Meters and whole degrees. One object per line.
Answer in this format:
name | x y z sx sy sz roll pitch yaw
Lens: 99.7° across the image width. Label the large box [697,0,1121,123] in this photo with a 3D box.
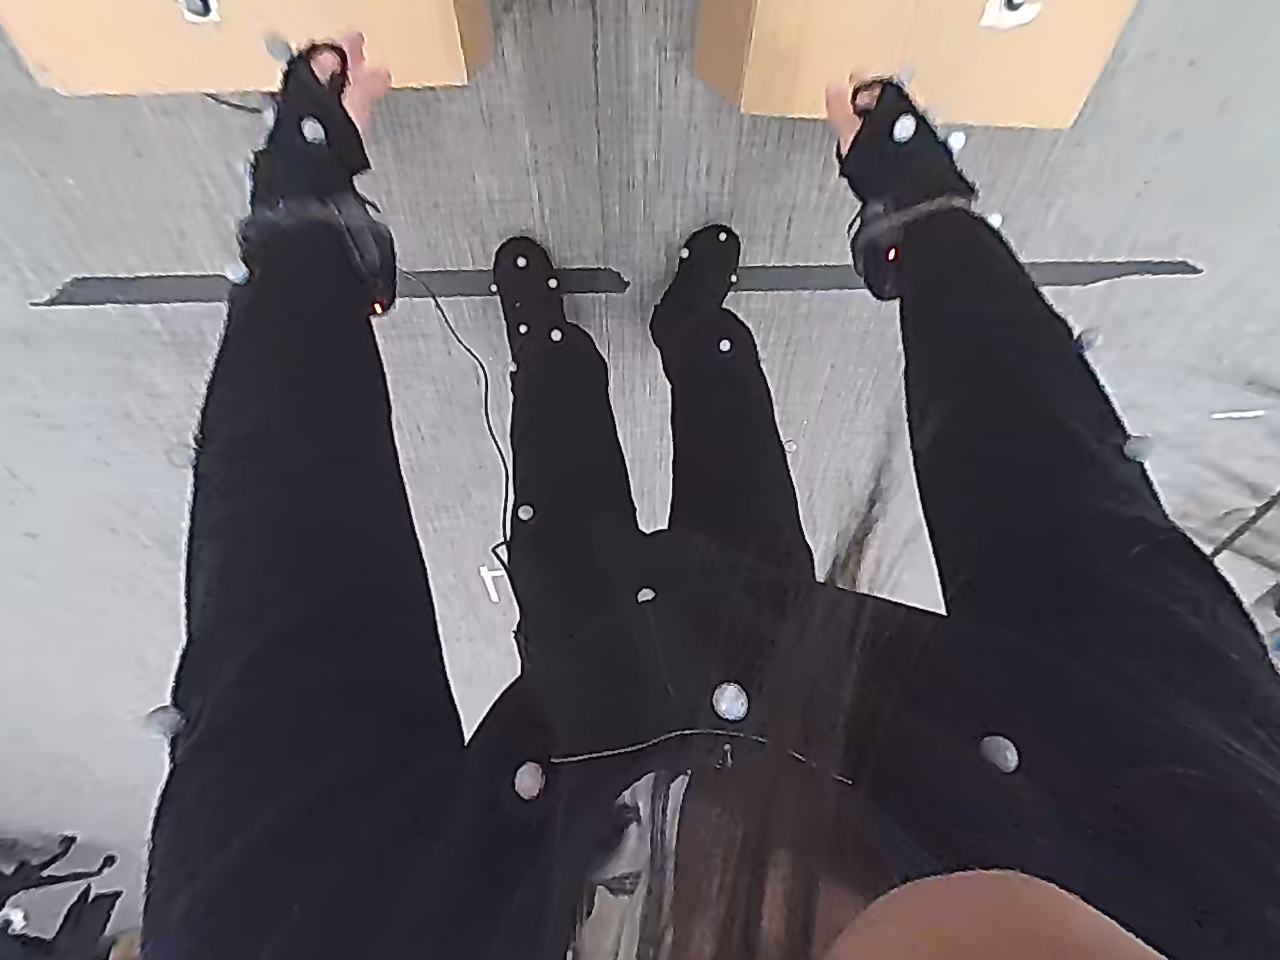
large box | 0.301 -0.635 0.639 0.408 0.320 0.320 -2 133 -7
